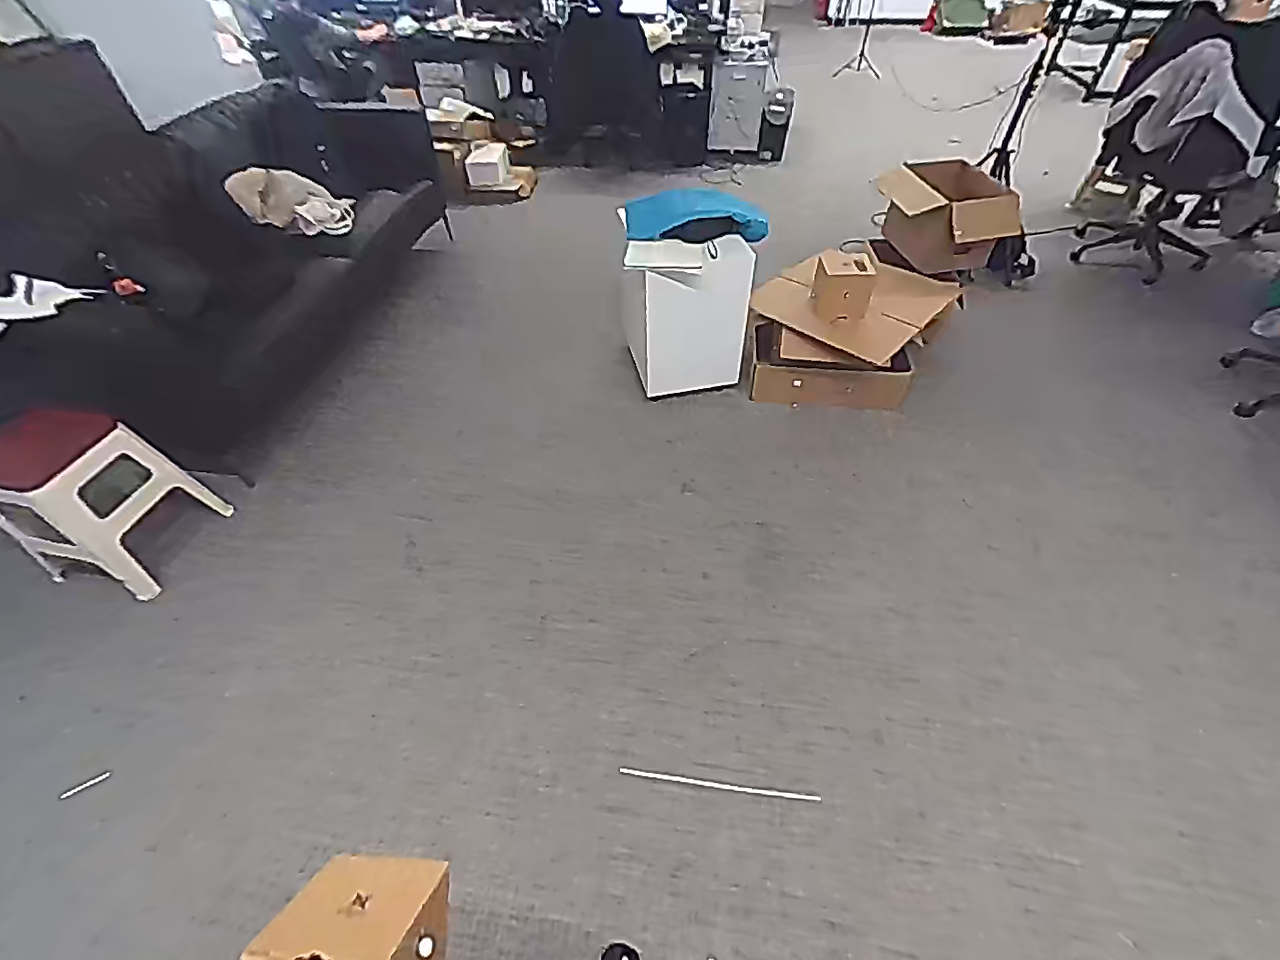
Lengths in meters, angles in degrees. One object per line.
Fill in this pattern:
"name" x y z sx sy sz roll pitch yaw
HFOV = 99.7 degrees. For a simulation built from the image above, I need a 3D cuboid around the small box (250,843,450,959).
"small box" -0.358 0.601 0.678 0.168 0.179 0.176 3 89 3
